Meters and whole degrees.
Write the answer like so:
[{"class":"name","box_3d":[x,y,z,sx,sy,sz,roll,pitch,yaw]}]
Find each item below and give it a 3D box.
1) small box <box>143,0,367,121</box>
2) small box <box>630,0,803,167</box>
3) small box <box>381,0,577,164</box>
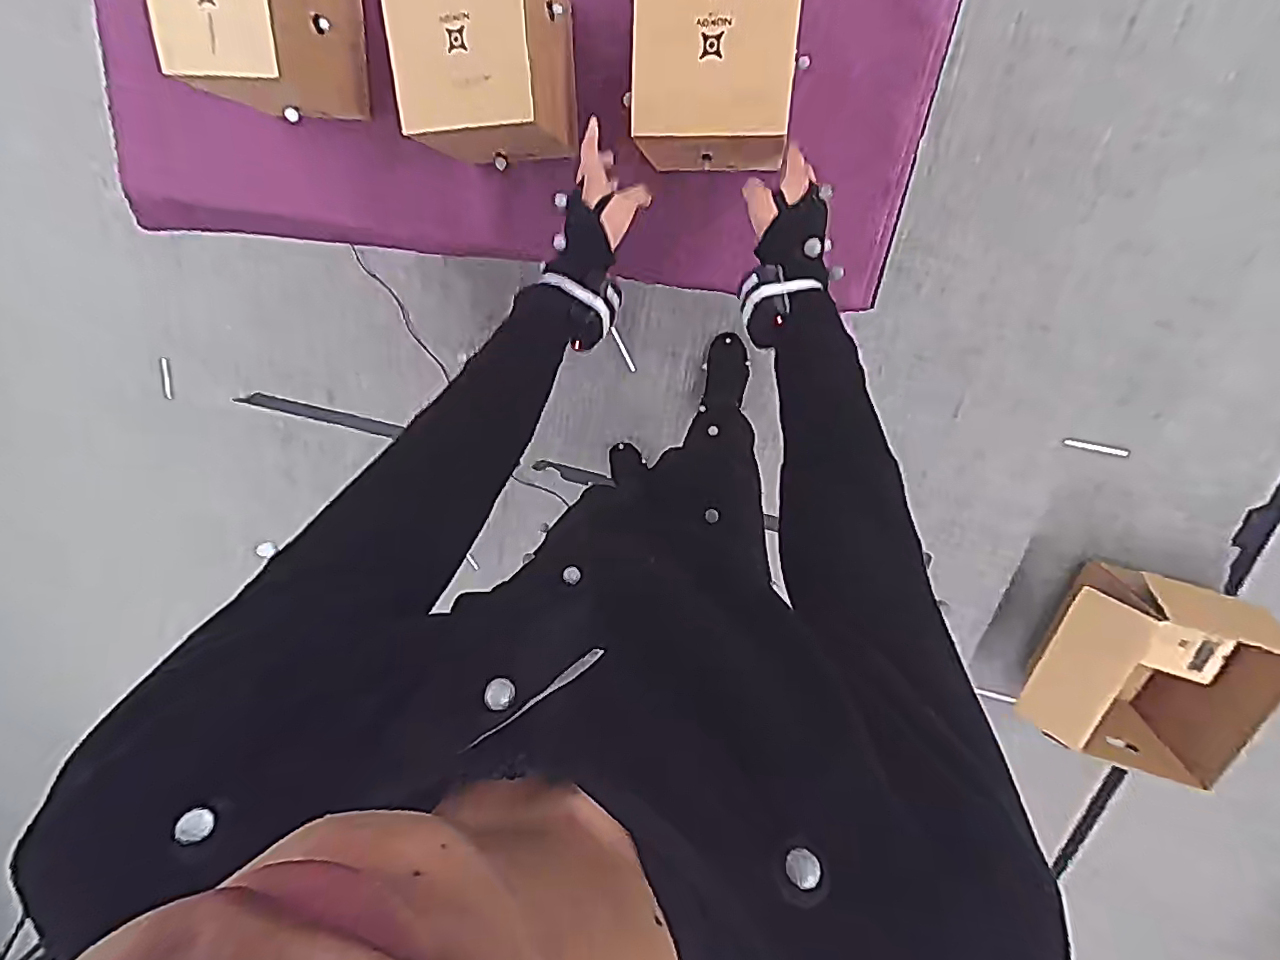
[{"class":"small box","box_3d":[-0.475,-0.582,0.682,0.168,0.176,0.179,8,111,9]},{"class":"small box","box_3d":[0.088,-0.463,0.605,0.168,0.176,0.179,6,109,10]},{"class":"small box","box_3d":[-0.181,-0.501,0.649,0.168,0.176,0.179,2,109,12]}]
